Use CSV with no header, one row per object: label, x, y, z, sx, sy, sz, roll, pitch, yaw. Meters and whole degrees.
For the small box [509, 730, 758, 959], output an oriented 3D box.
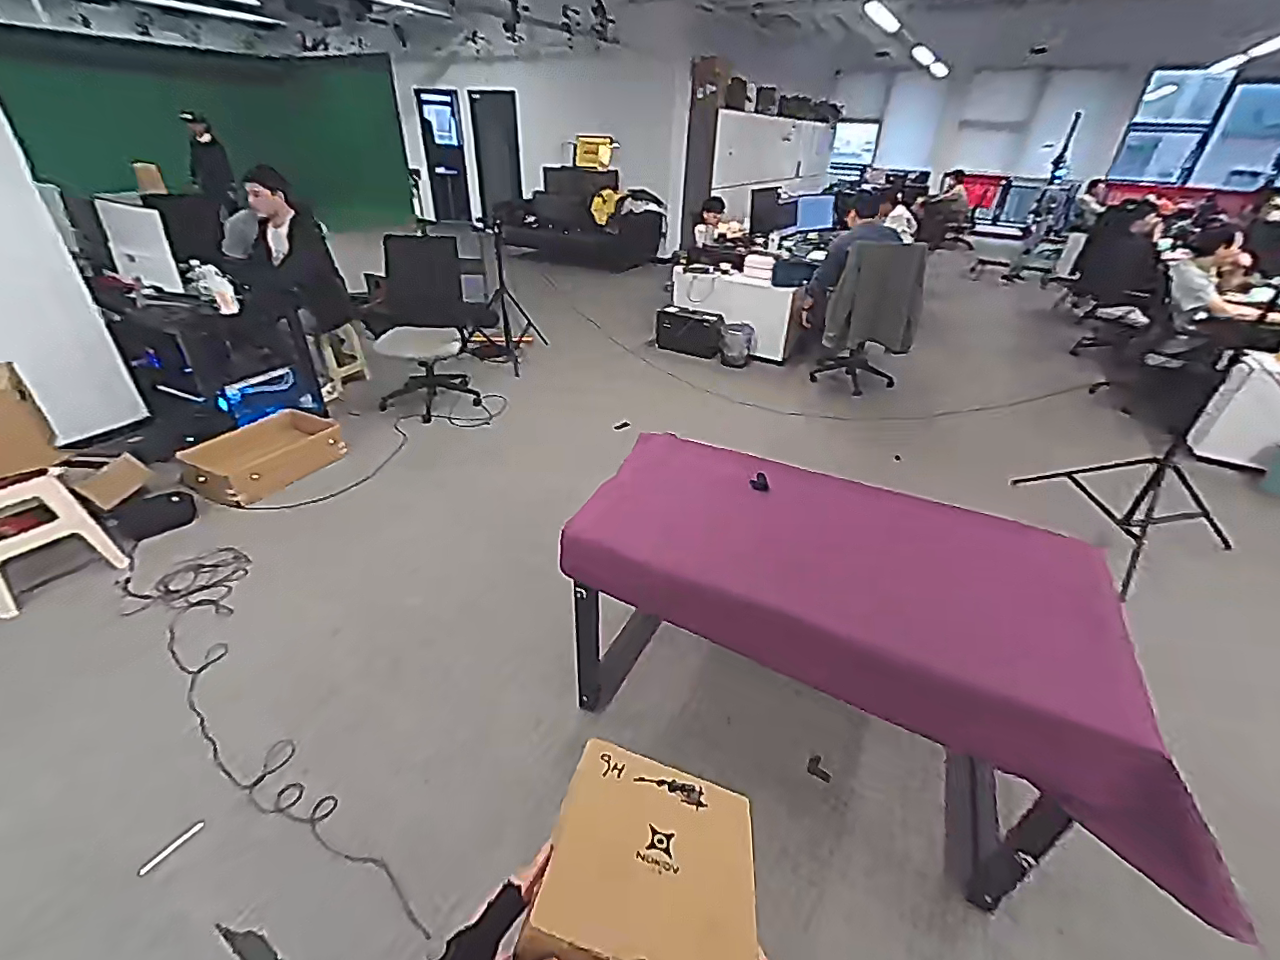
small box,-0.008,0.367,0.468,0.168,0.176,0.179,20,20,2
